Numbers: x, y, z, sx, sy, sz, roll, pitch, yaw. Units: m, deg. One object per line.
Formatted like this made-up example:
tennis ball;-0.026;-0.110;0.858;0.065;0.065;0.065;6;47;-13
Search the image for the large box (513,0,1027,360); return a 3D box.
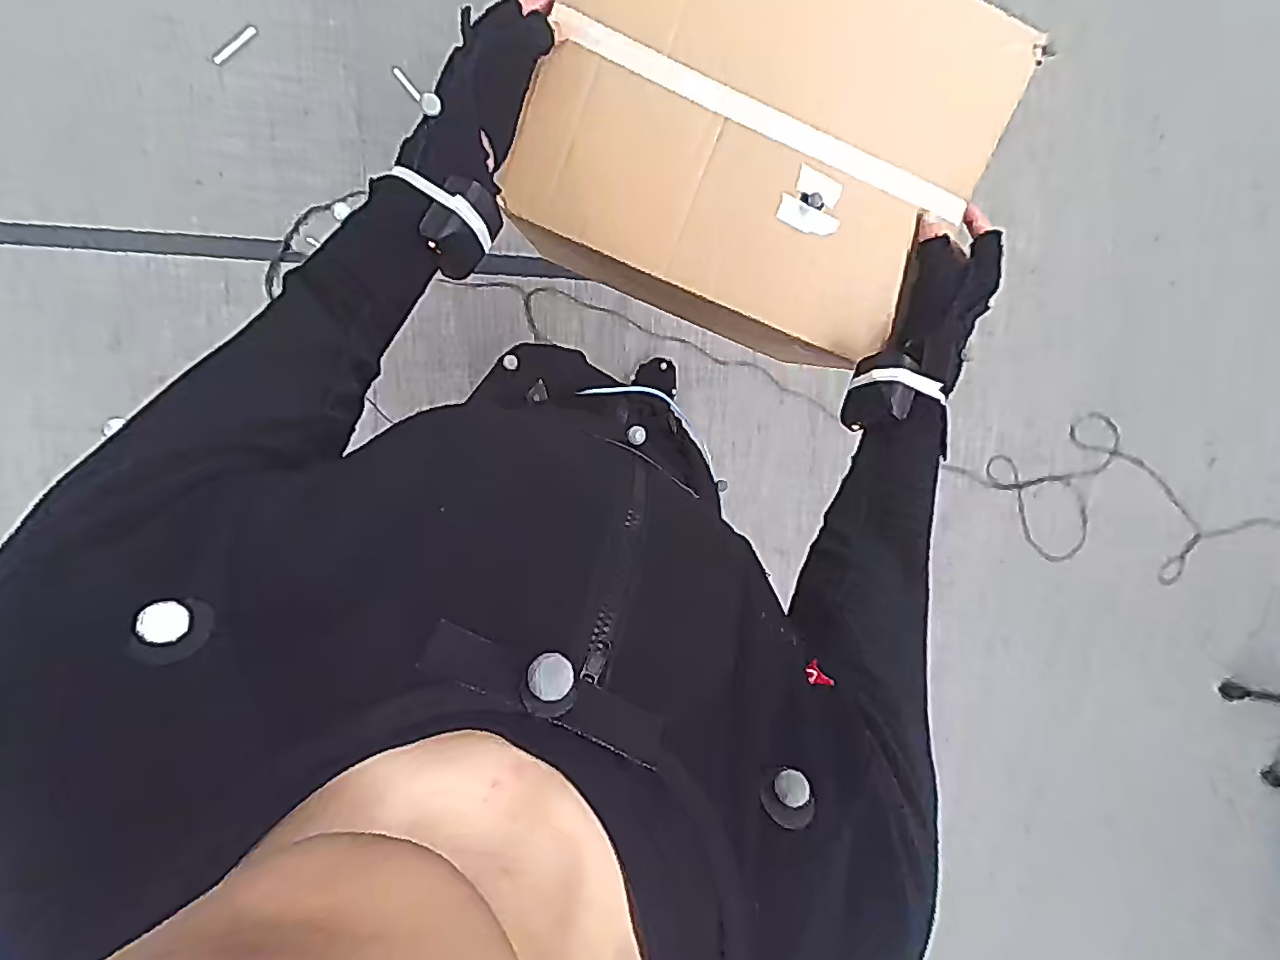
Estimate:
large box;0.107;-0.362;0.639;0.408;0.320;0.320;21;104;-8
